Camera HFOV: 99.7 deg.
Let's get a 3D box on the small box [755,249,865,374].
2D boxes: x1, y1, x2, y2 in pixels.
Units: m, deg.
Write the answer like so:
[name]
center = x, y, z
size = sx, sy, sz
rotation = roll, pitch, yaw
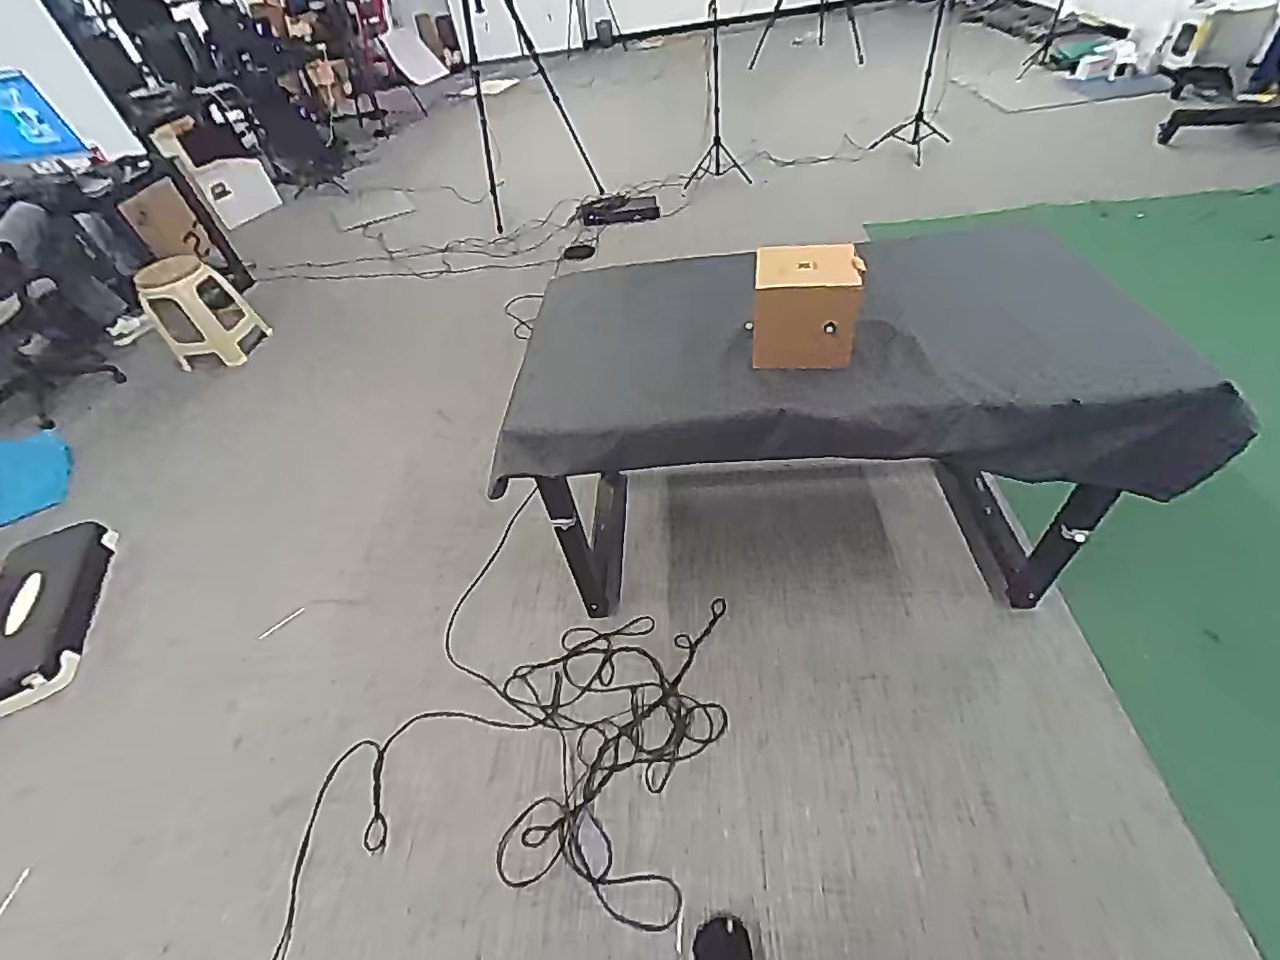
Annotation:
[small box]
center = 0.309, -0.312, 1.013
size = 0.179, 0.176, 0.168
rotation = 2, 46, 13
